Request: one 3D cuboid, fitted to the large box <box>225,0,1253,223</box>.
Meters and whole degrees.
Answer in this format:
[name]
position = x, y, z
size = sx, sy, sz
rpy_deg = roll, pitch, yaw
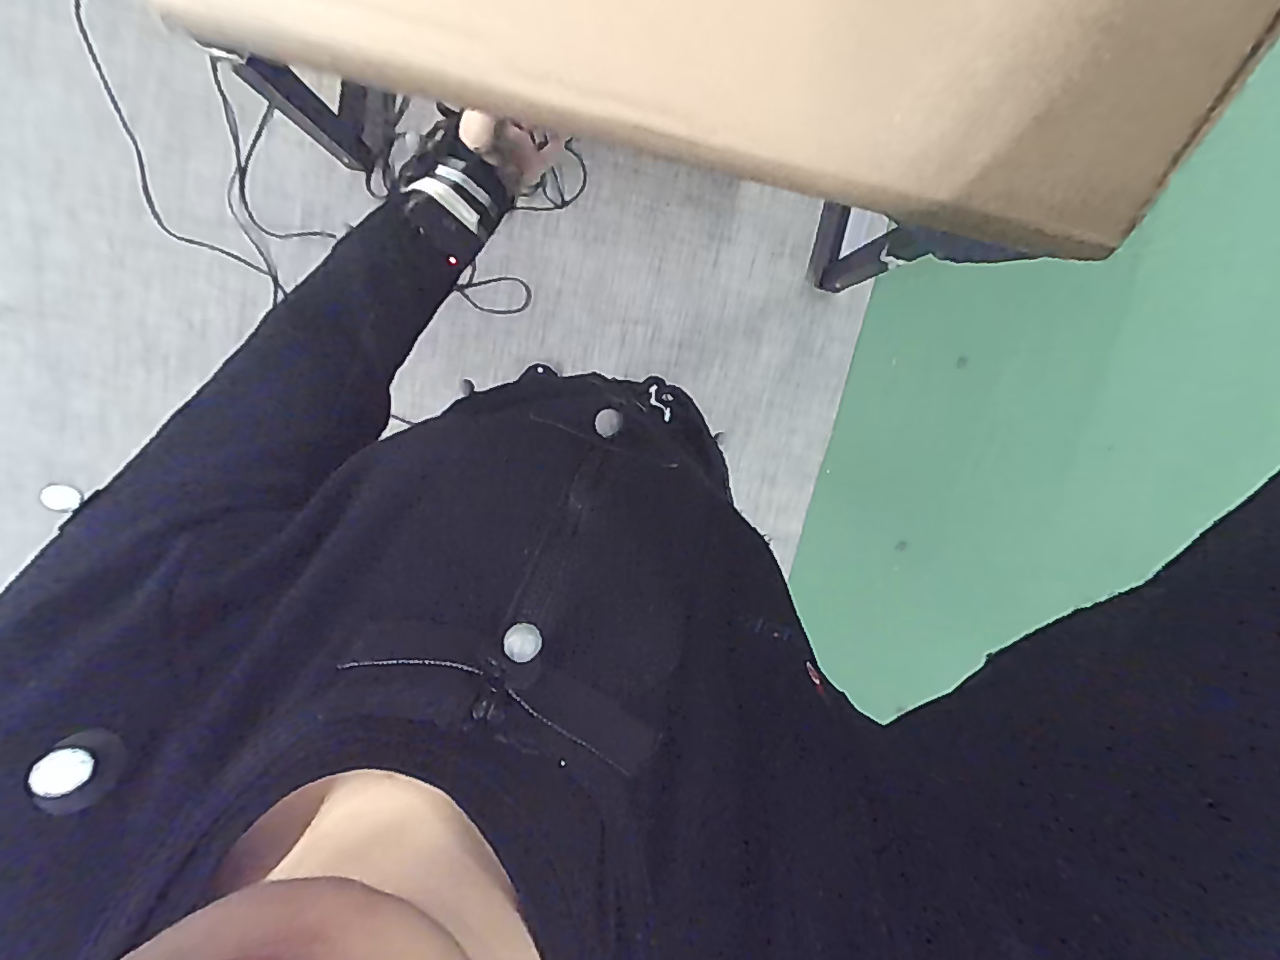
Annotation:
[large box]
position = 0.050, -0.351, 0.240
size = 0.320, 0.408, 0.320
rpy_deg = 11, 128, -2
